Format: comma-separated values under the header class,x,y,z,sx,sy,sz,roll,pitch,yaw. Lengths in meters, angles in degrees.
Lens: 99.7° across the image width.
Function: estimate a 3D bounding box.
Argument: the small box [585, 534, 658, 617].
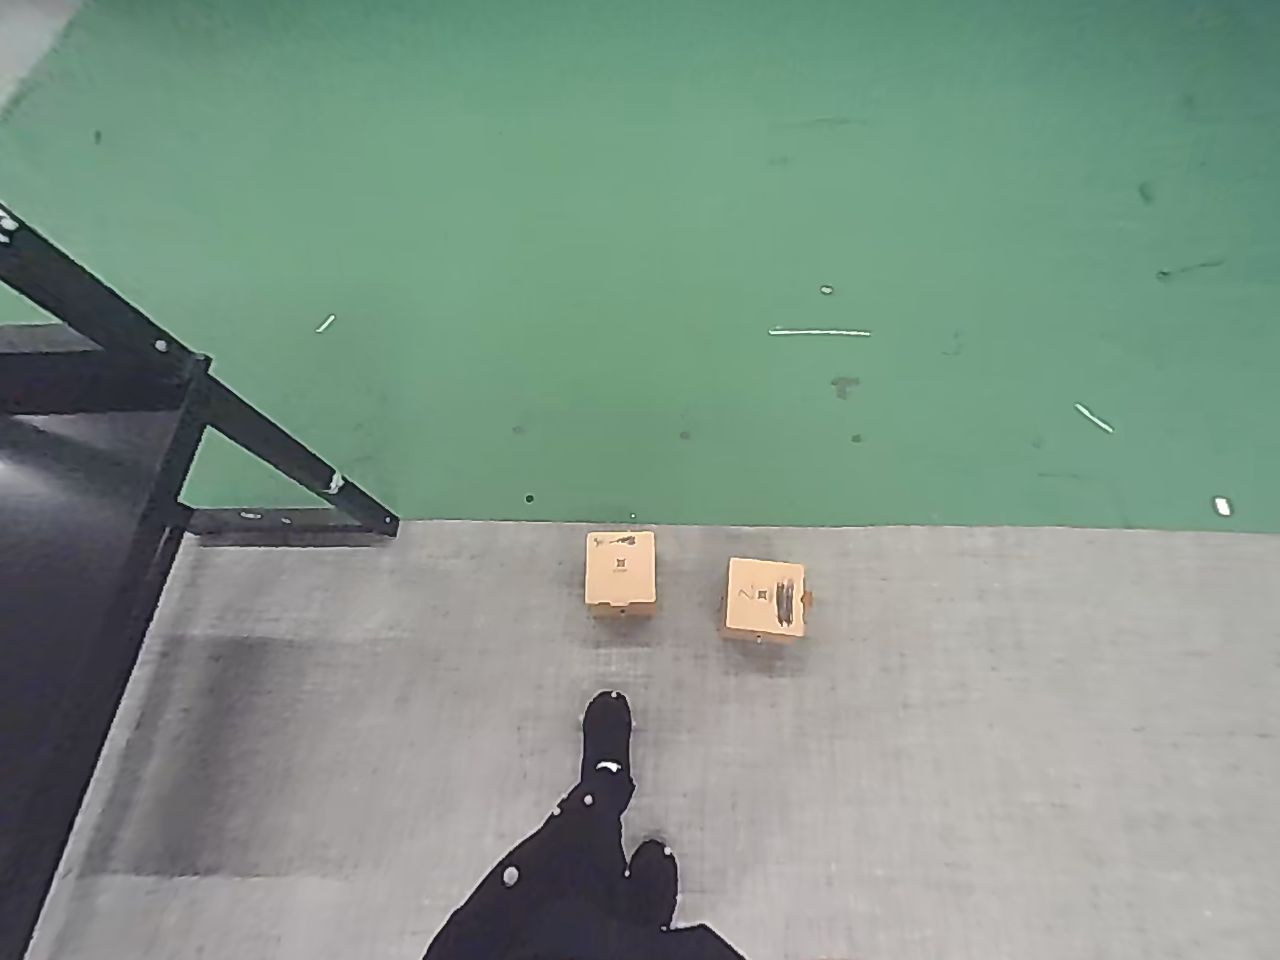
class,x,y,z,sx,sy,sz,roll,pitch,yaw
small box,-0.041,0.242,1.336,0.168,0.176,0.179,-1,66,2
